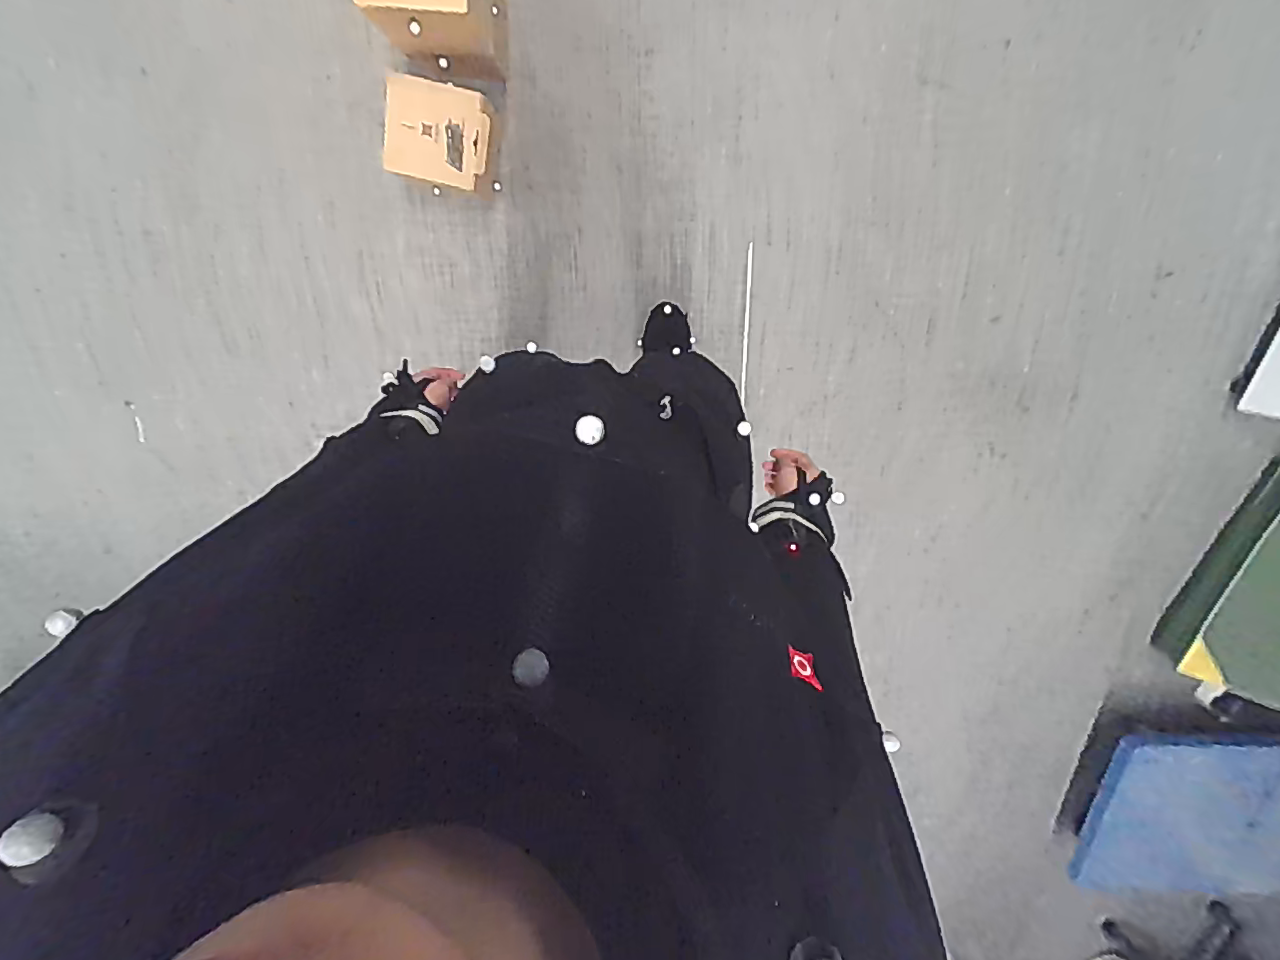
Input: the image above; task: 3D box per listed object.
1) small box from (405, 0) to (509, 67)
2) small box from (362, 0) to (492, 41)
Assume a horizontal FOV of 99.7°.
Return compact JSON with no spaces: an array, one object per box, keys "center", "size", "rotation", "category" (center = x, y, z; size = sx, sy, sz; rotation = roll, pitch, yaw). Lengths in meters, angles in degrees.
[{"center":[-0.350,-0.893,0.998],"size":[0.179,0.176,0.168],"rotation":[3,110,-1],"category":"small box"},{"center":[-0.336,-0.824,0.850],"size":[0.179,0.176,0.168],"rotation":[3,111,-1],"category":"small box"}]
